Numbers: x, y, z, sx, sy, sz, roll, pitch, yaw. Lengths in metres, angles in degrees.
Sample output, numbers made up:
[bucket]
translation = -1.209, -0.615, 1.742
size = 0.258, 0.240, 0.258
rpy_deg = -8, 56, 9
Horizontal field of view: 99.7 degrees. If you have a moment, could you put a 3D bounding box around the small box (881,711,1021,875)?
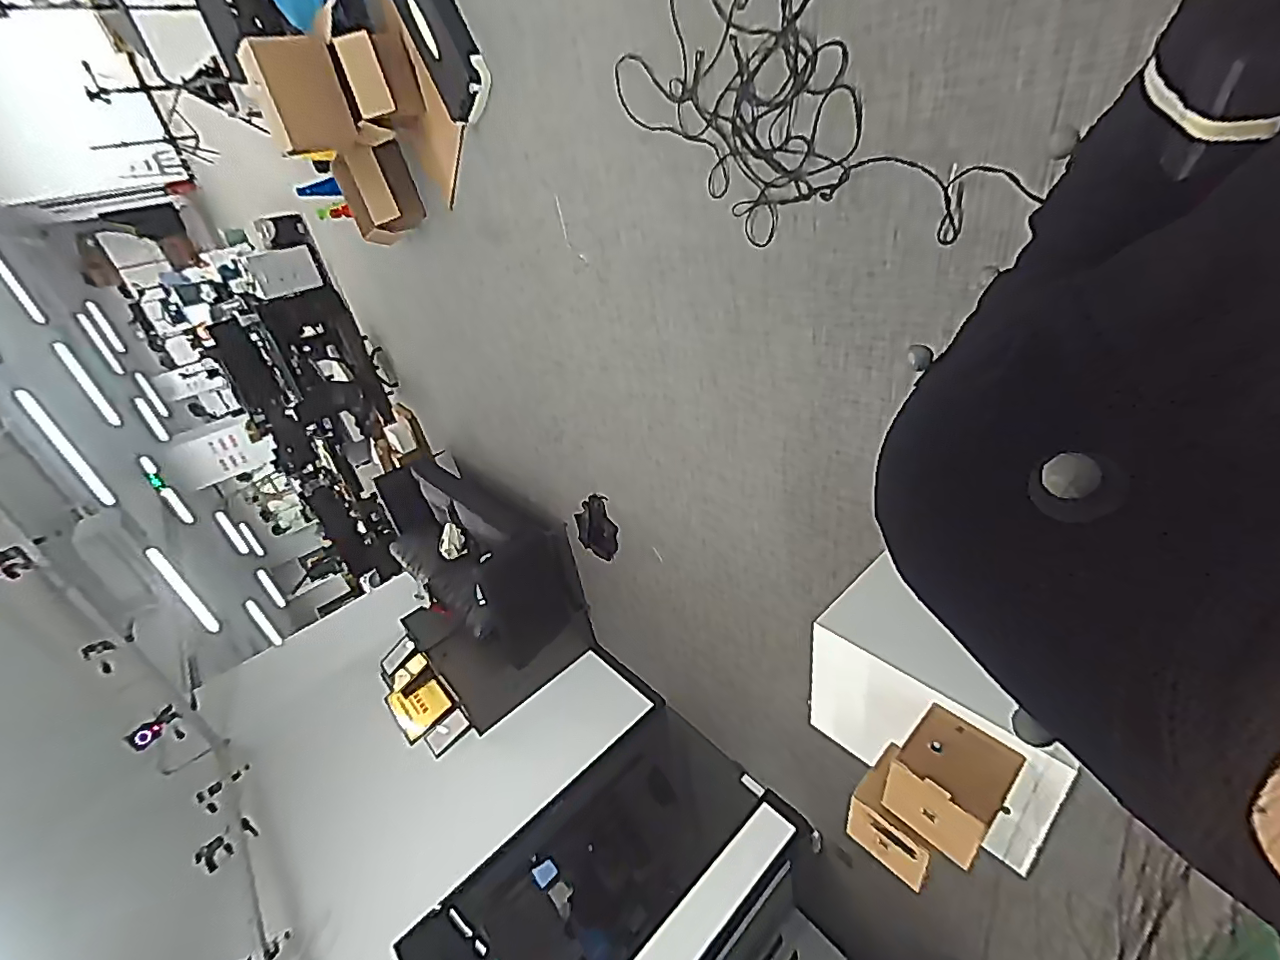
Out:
[small box]
translation = 0.586, 0.580, 1.023
size = 0.168, 0.176, 0.179
rpy_deg = 29, 140, 43
